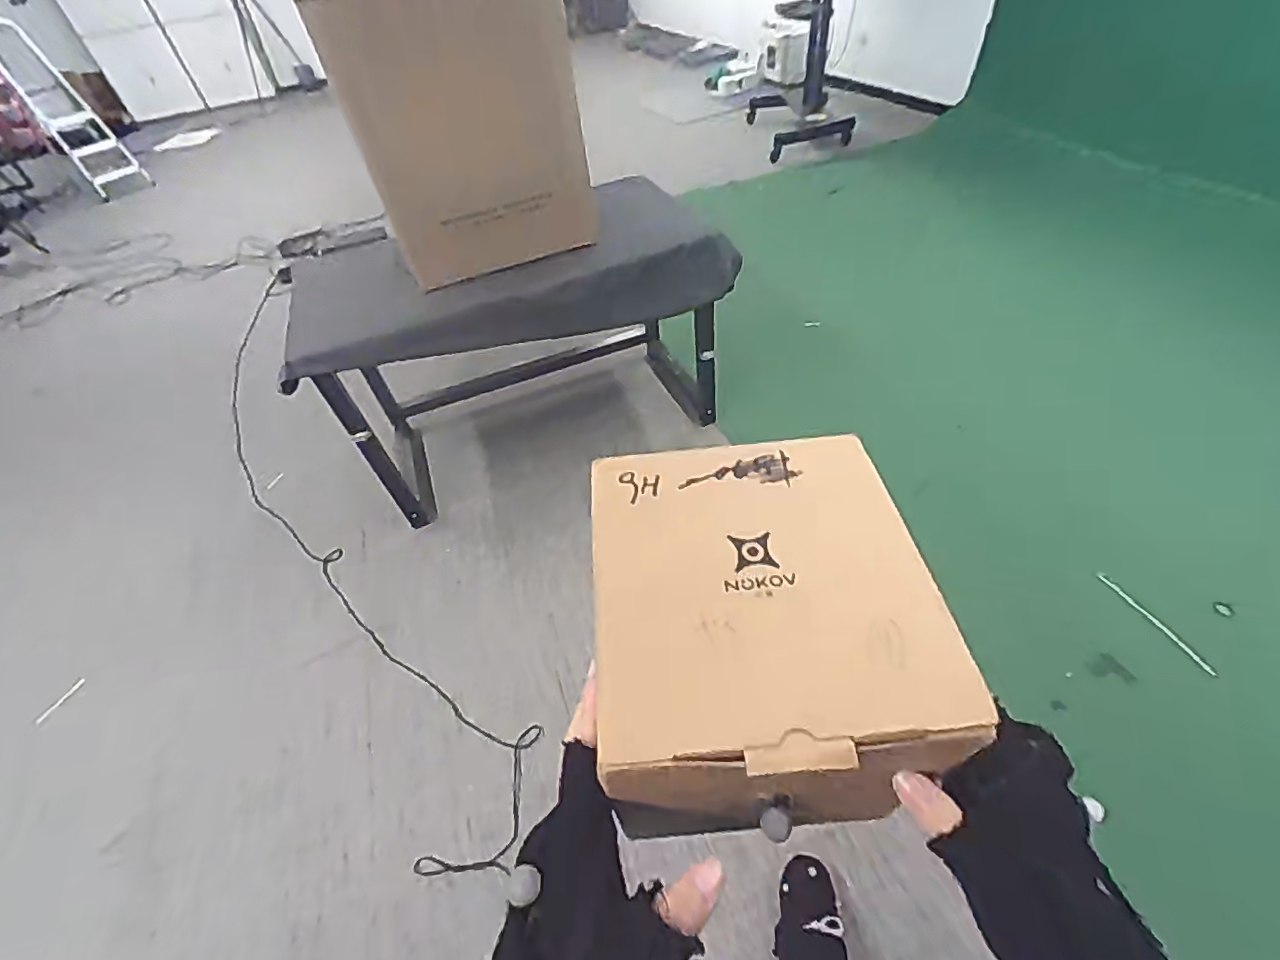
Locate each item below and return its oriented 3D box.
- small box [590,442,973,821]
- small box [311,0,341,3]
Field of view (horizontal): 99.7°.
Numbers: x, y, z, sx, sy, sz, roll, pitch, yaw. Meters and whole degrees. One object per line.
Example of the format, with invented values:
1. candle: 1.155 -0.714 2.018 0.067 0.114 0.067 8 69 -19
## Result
1. small box: 0.061 0.102 0.342 0.168 0.176 0.179 -6 49 0
2. small box: -0.605 -1.077 1.070 0.179 0.176 0.168 -22 51 -13
